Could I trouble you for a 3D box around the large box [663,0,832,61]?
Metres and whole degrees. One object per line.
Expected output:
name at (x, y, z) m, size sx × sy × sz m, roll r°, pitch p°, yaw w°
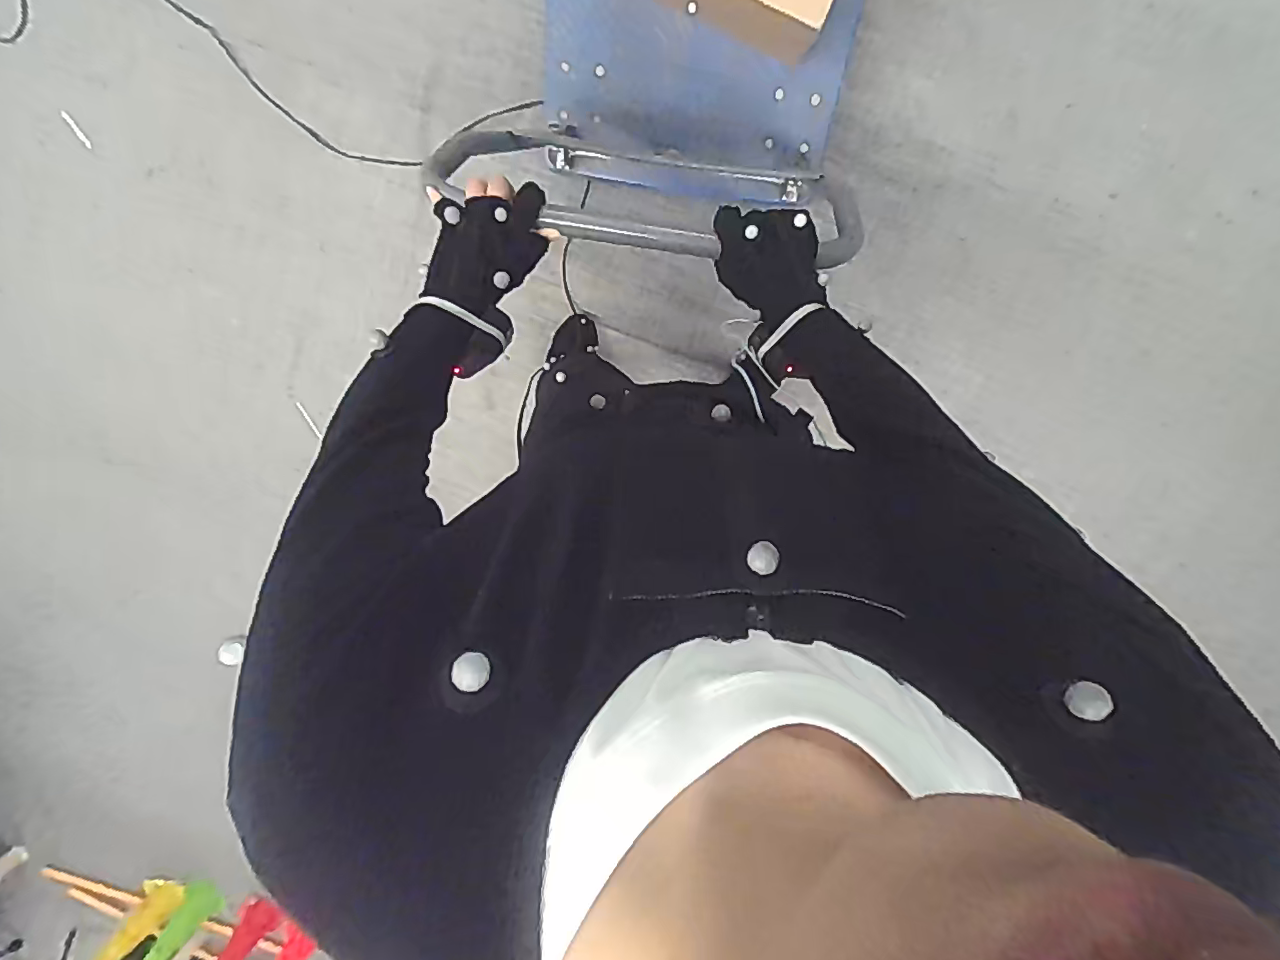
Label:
large box at (0.143, -0.896, 0.796) m, size 0.408 × 0.320 × 0.320 m, roll 23°, pitch 120°, yaw -4°
